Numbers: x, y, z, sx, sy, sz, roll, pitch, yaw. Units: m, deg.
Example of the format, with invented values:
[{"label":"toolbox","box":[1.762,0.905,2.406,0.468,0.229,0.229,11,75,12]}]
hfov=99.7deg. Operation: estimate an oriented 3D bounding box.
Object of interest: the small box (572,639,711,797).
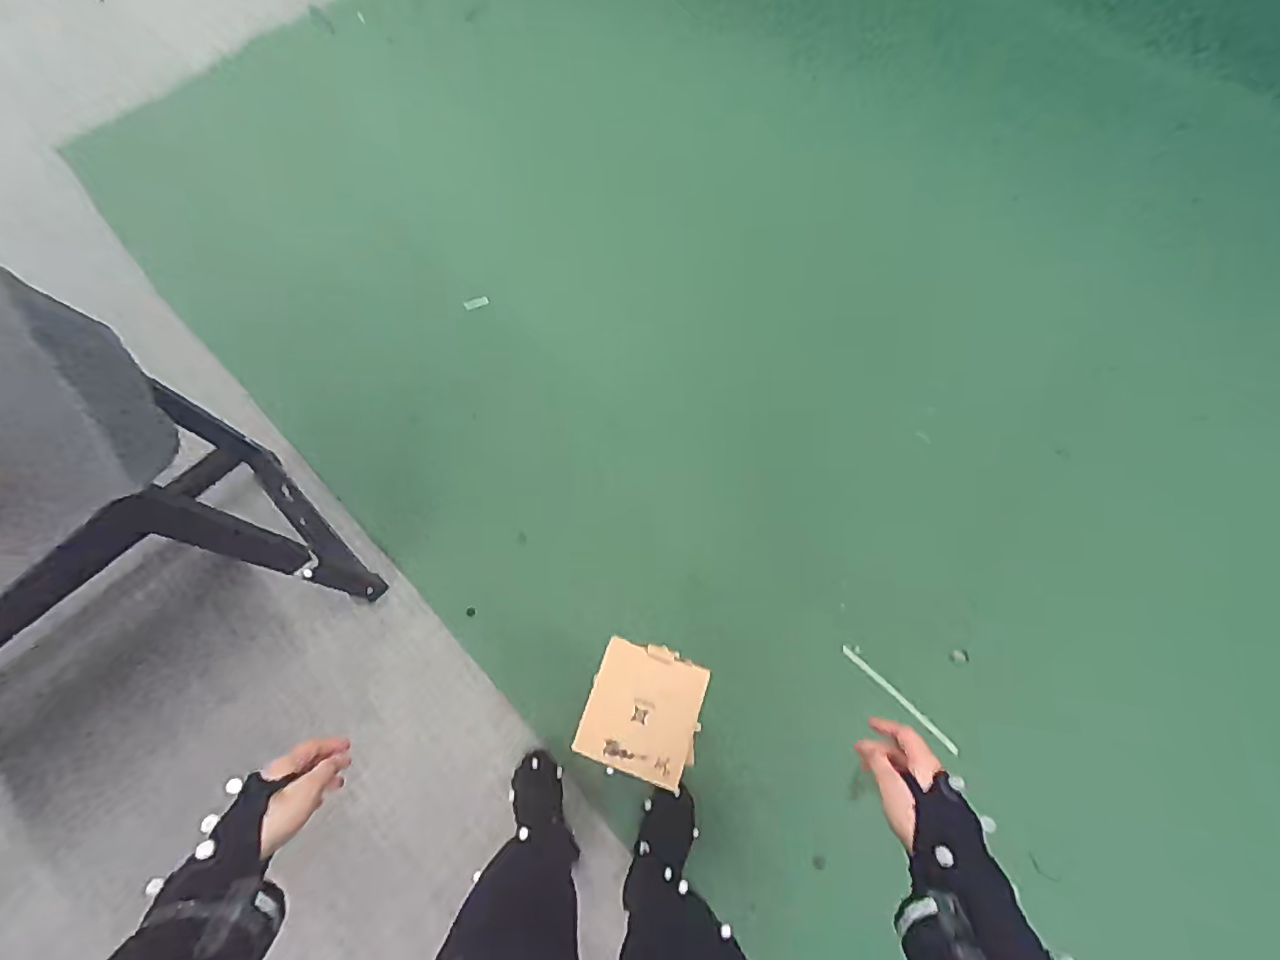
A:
[{"label":"small box","box":[0.006,0.378,0.877,0.168,0.176,0.179,17,70,10]}]
